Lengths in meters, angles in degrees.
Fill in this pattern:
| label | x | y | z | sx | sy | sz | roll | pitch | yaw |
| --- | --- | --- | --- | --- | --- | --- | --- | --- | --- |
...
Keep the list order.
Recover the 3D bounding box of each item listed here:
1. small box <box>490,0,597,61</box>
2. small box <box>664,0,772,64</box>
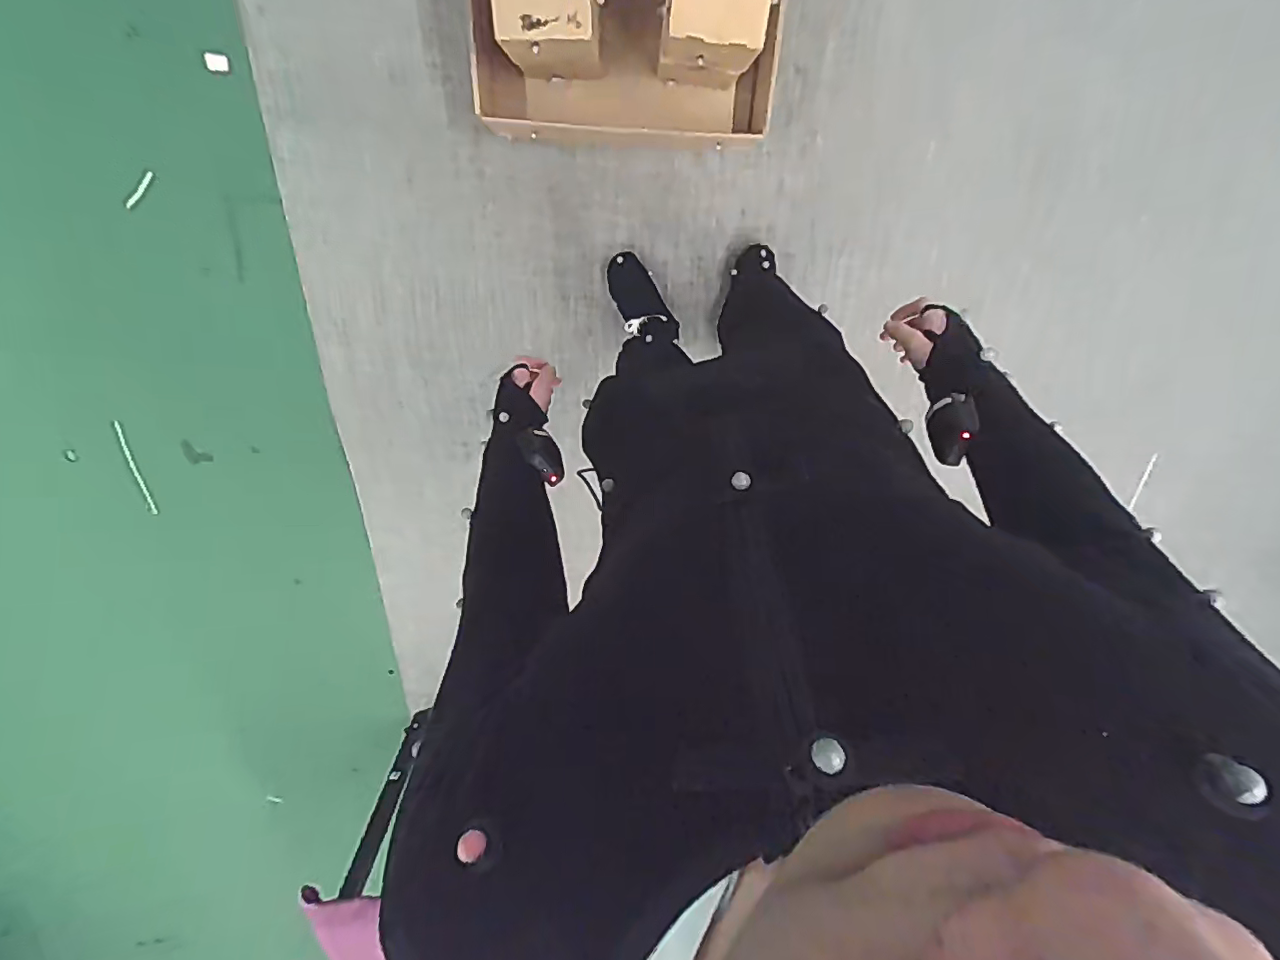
| label | x | y | z | sx | sy | sz | roll | pitch | yaw |
| --- | --- | --- | --- | --- | --- | --- | --- | --- | --- |
| small box | -0.163 | -0.856 | 0.933 | 0.168 | 0.176 | 0.179 | 0 | 116 | 0 |
| small box | 0.136 | -0.858 | 0.940 | 0.168 | 0.176 | 0.179 | 5 | 118 | -4 |
